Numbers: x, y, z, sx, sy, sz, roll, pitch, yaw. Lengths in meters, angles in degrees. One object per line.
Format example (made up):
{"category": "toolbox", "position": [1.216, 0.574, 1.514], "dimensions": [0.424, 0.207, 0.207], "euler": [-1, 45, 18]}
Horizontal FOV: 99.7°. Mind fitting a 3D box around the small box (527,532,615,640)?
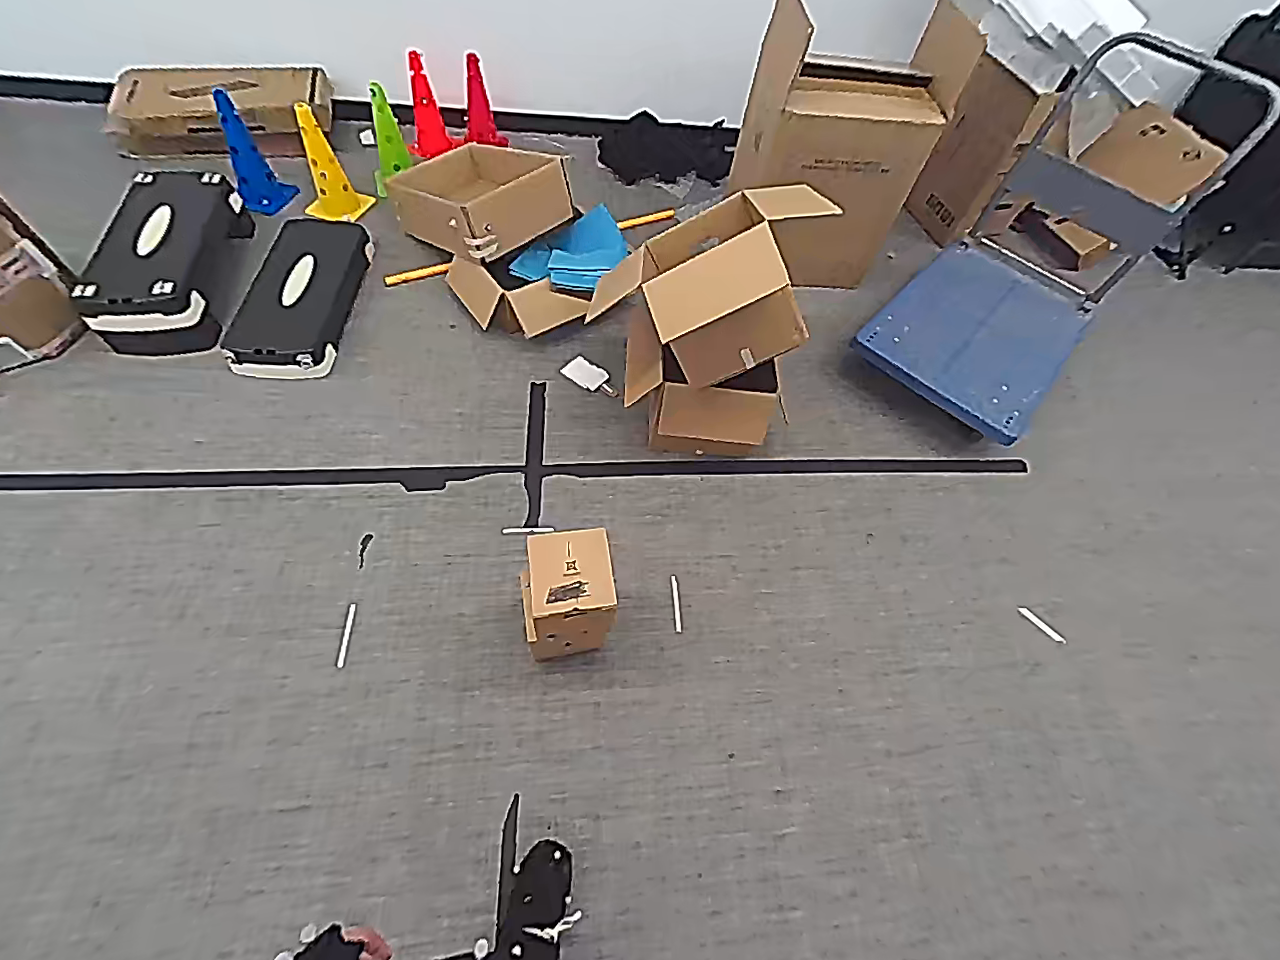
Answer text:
{"category": "small box", "position": [-0.147, 0.231, 1.148], "dimensions": [0.168, 0.176, 0.179], "euler": [-5, 58, -10]}
